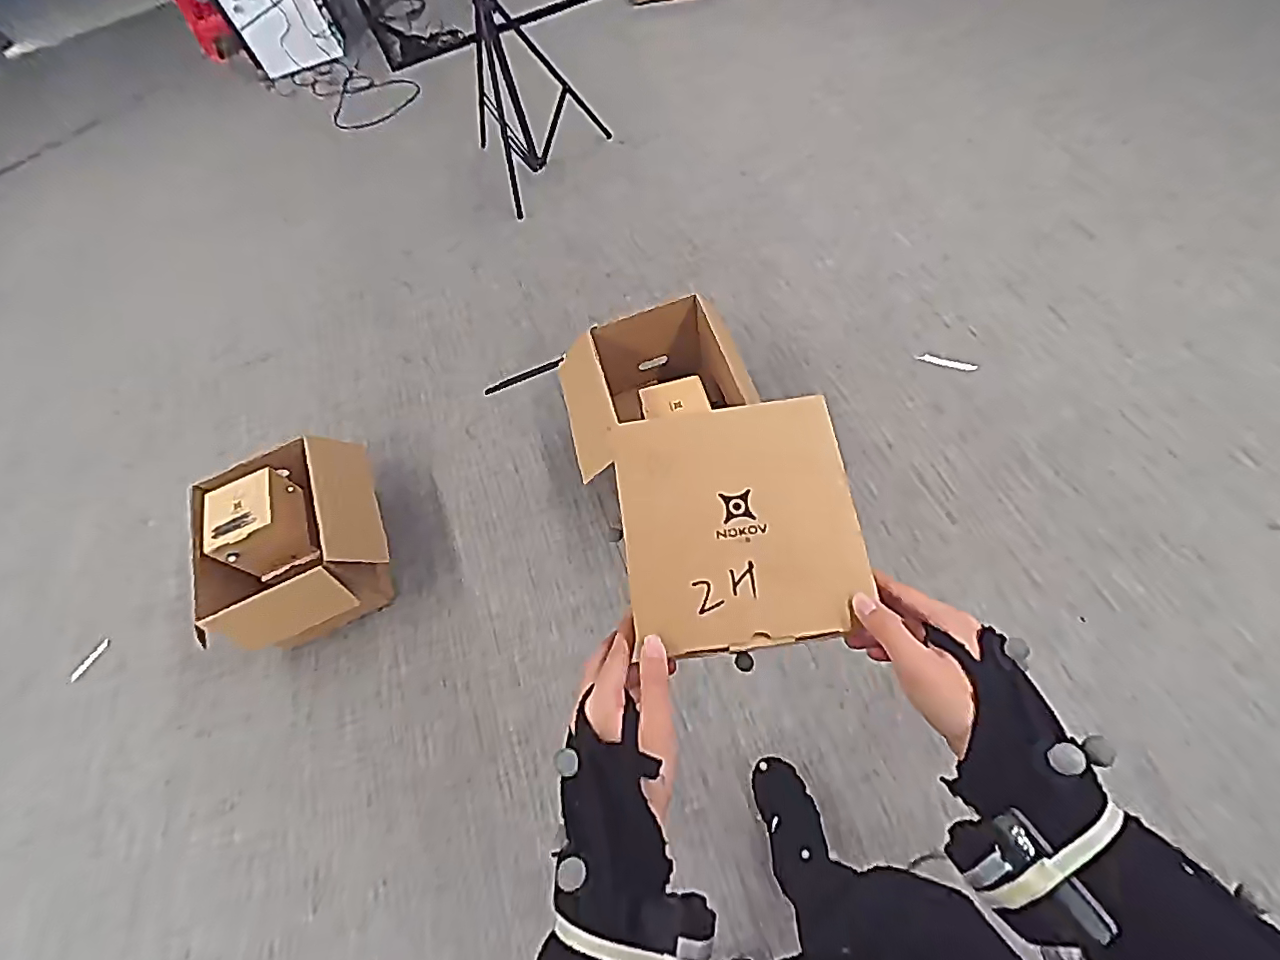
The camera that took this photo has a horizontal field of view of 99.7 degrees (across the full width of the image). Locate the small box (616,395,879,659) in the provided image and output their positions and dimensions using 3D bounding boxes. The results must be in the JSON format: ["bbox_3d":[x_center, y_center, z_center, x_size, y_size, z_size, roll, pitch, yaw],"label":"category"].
[{"bbox_3d":[0.074,0.051,0.464,0.168,0.176,0.179,-8,70,1],"label":"small box"}]
